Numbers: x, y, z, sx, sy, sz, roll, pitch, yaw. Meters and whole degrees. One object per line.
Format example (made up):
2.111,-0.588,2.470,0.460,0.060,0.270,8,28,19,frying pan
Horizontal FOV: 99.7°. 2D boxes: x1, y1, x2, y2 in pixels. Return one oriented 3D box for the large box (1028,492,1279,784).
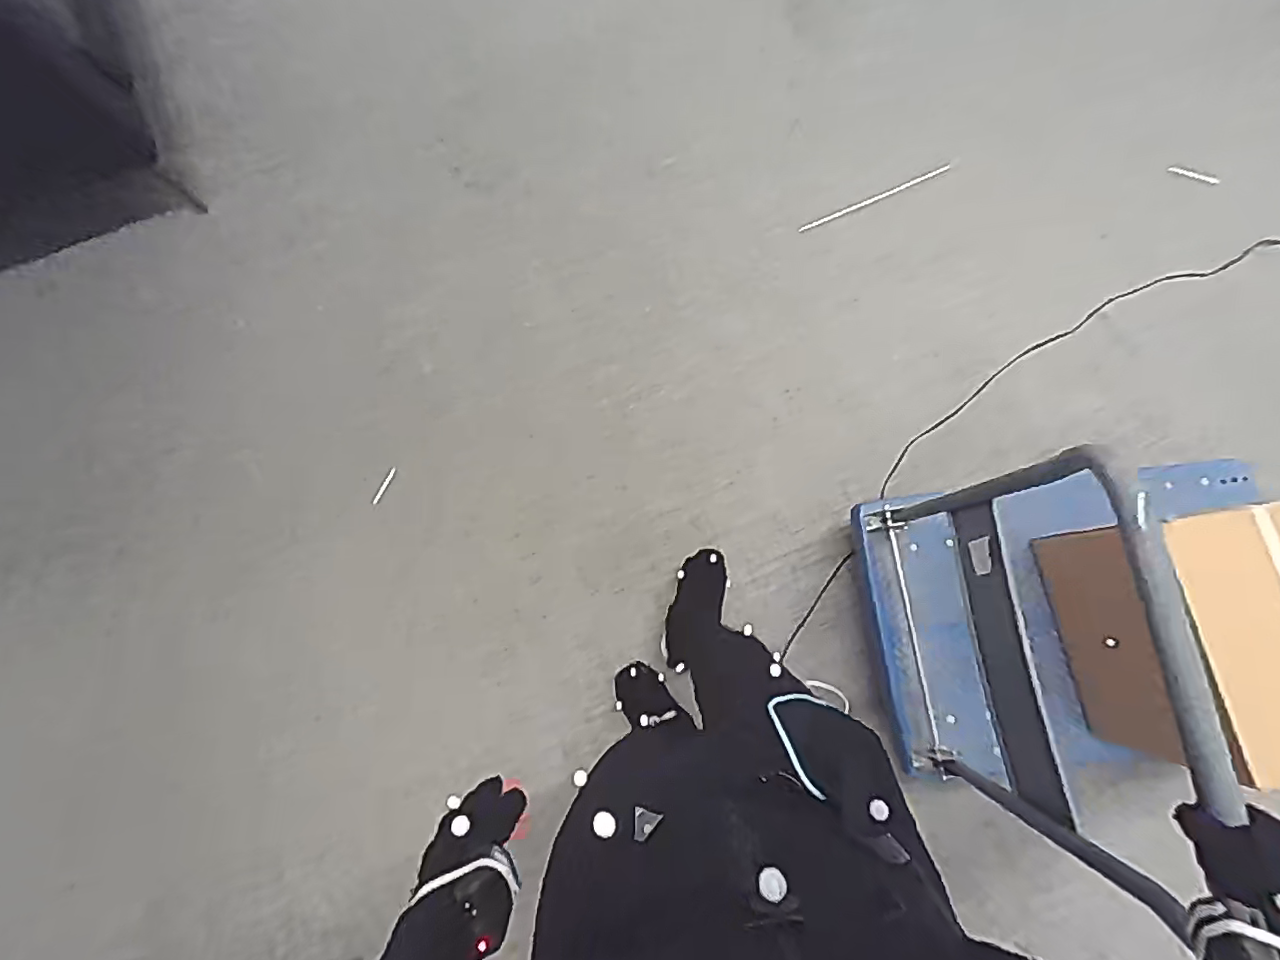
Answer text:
1.012,0.262,0.980,0.320,0.320,0.408,-11,77,-1,large box
